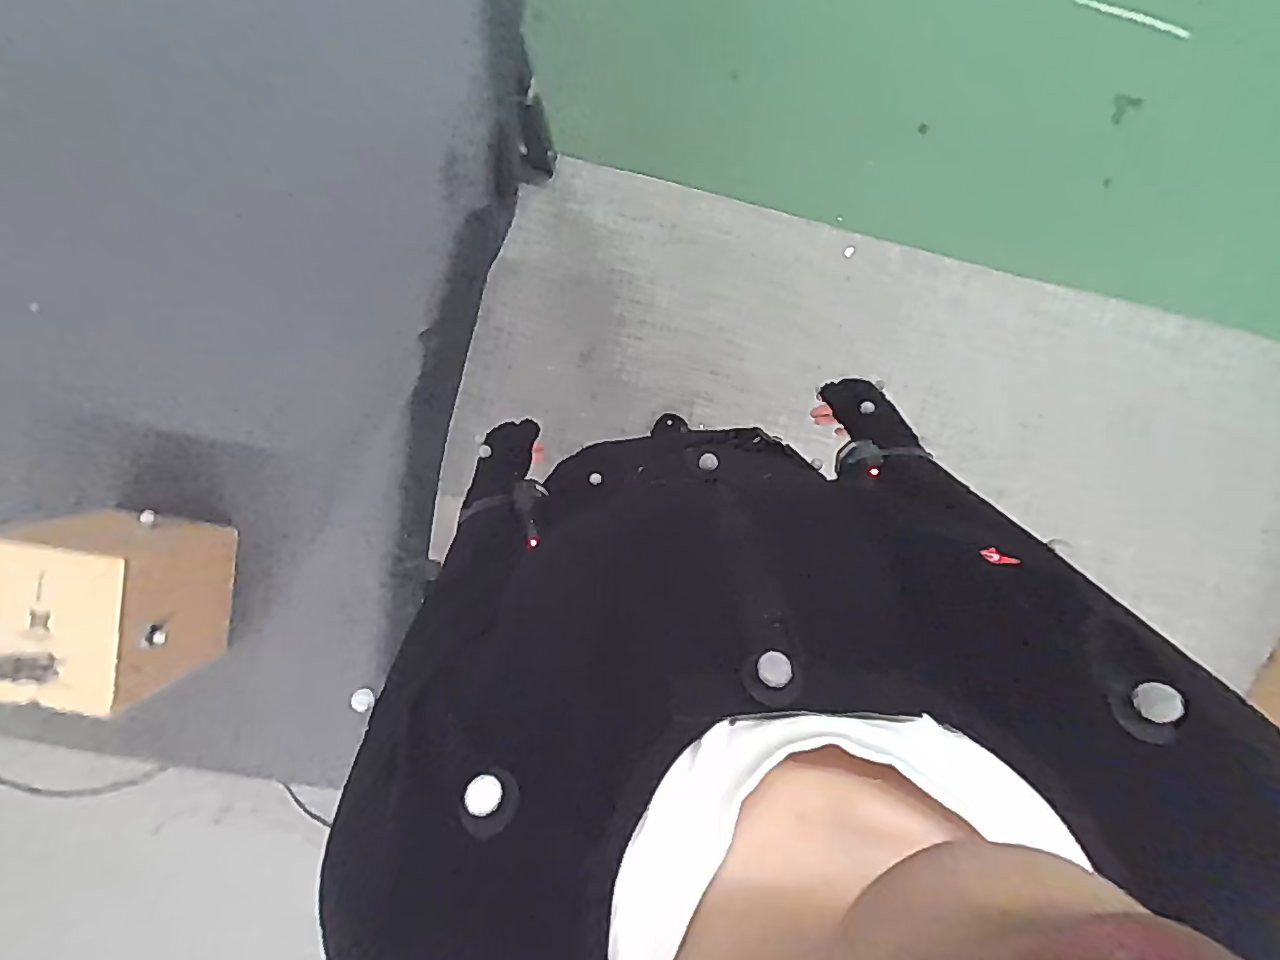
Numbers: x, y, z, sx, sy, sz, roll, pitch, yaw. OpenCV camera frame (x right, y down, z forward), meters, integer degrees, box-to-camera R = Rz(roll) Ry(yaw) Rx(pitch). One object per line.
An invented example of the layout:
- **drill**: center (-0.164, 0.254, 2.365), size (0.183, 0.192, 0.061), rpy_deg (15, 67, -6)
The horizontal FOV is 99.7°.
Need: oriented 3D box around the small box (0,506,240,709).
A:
- **small box**: center (-0.621, 0.139, 0.645), size (0.168, 0.176, 0.179), rpy_deg (9, 95, -3)
